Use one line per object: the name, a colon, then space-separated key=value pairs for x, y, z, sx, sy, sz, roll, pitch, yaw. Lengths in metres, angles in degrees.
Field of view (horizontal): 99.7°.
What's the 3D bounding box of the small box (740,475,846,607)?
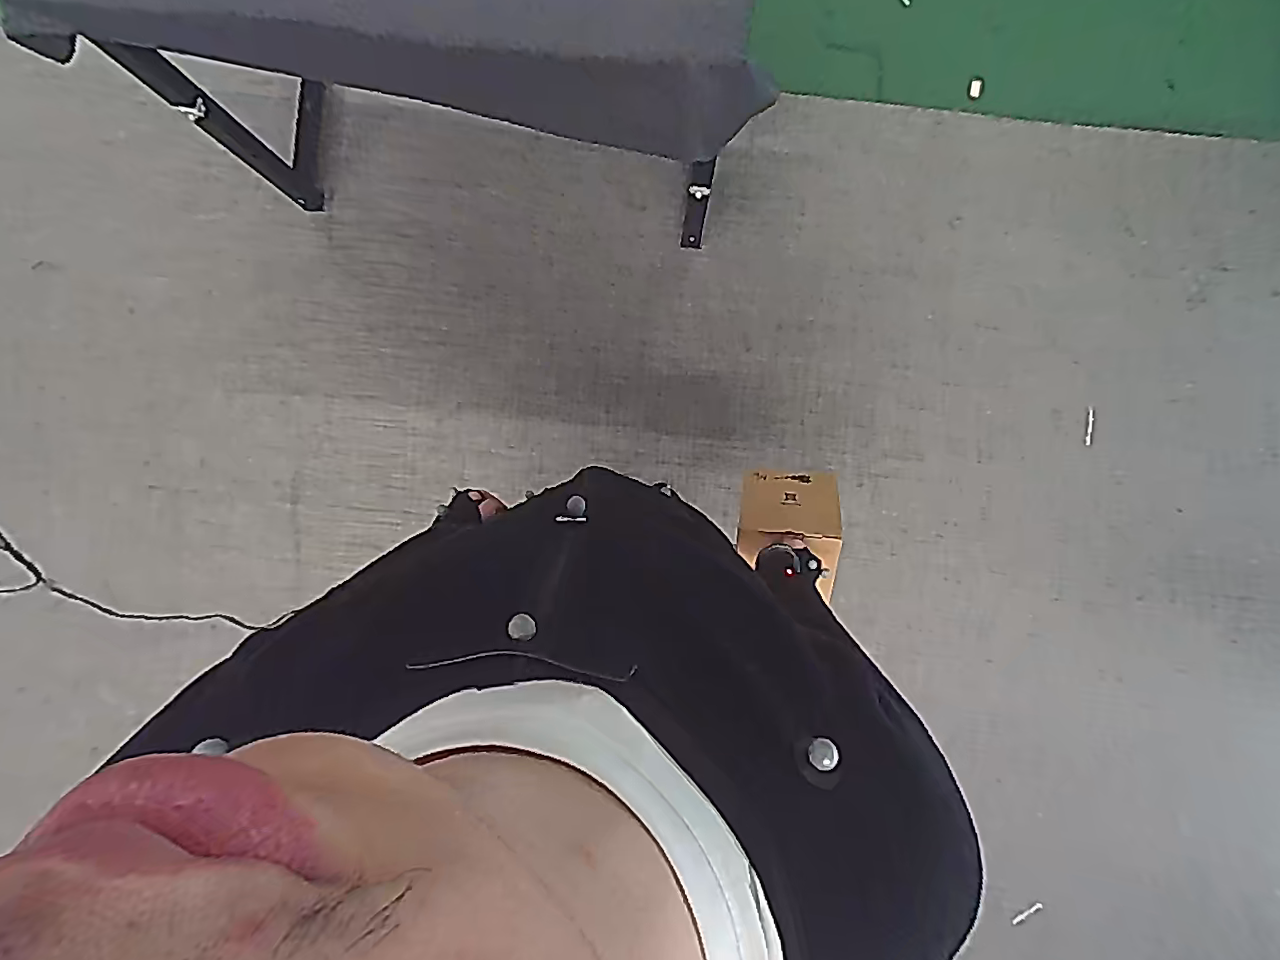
small box: x=0.271 y=0.110 z=0.984 sx=0.168 sy=0.179 sz=0.176 roll=3 pitch=127 yaw=11
